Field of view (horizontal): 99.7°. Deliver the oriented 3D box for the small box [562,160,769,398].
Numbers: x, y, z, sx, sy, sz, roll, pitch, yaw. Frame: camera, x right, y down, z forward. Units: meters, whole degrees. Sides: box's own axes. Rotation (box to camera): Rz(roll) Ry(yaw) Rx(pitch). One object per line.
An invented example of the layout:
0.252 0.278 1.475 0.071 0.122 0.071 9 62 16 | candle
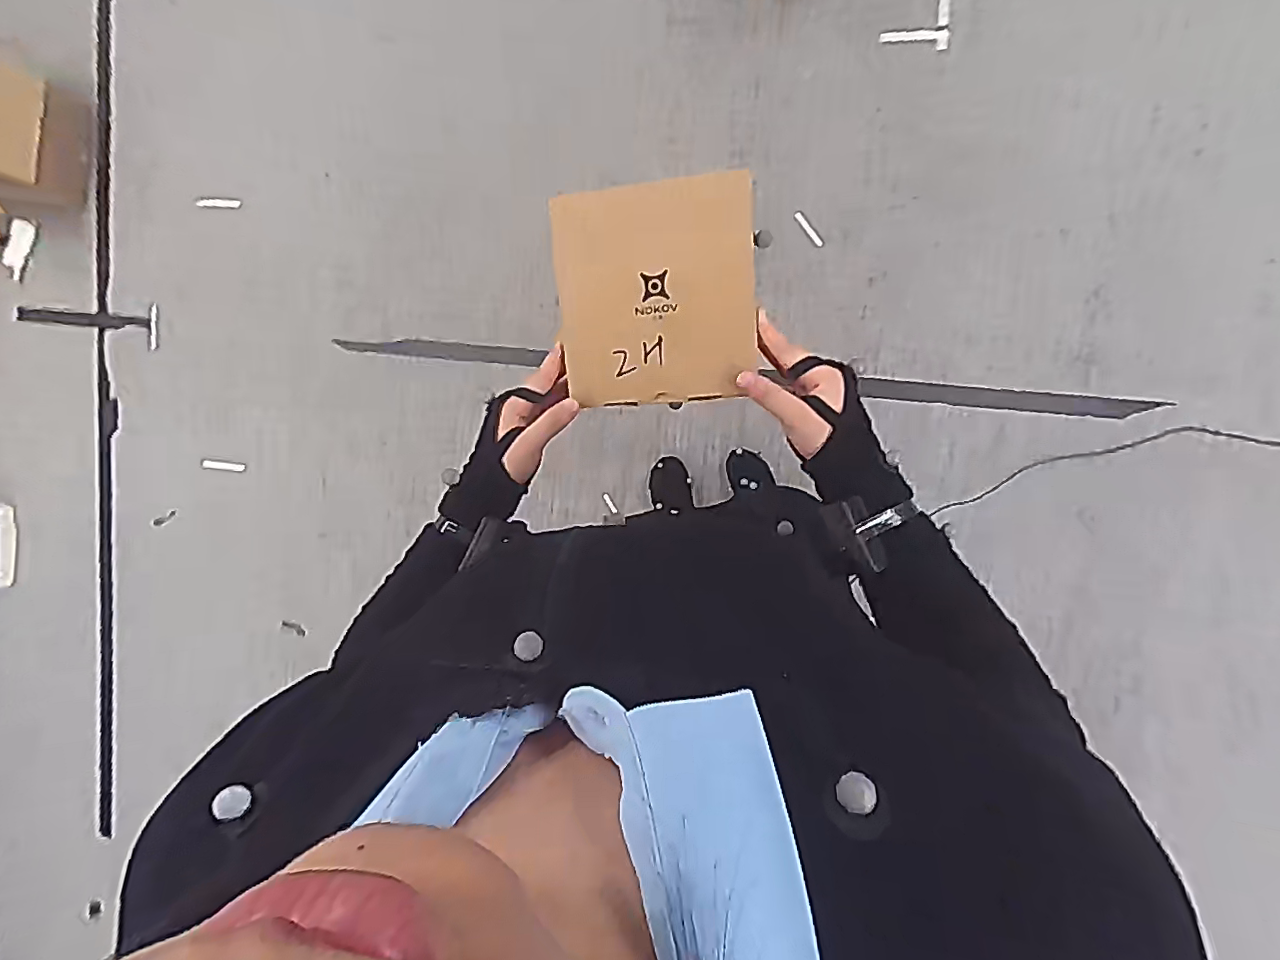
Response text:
0.033 -0.173 0.516 0.168 0.176 0.179 -2 102 10 | small box
